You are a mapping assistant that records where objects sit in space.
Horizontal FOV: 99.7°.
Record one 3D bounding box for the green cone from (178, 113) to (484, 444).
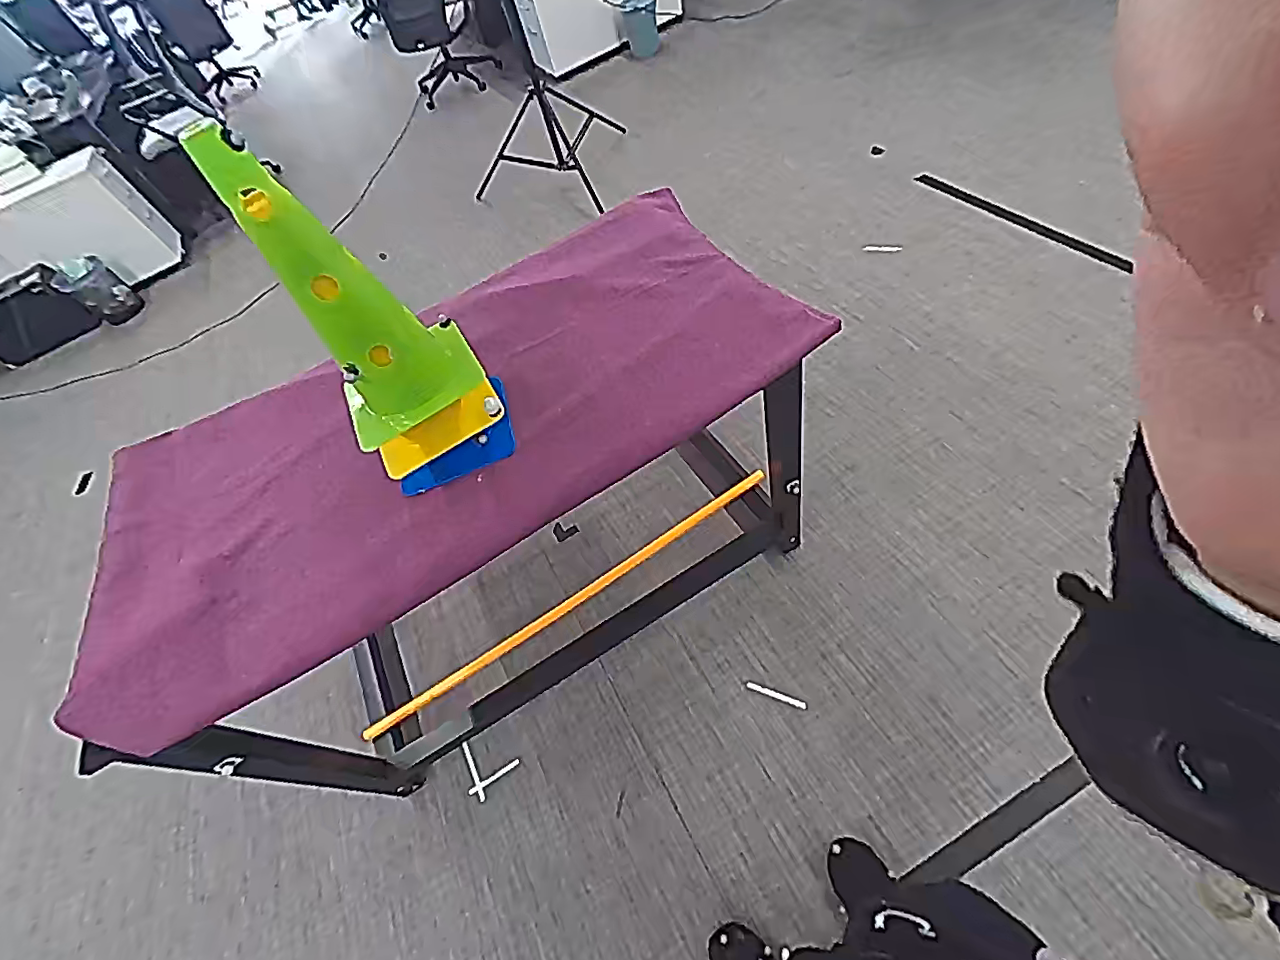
[{"bbox_3d":[-0.389,-0.249,0.670,0.200,0.368,0.202,-34,53,-6],"label":"green cone"}]
